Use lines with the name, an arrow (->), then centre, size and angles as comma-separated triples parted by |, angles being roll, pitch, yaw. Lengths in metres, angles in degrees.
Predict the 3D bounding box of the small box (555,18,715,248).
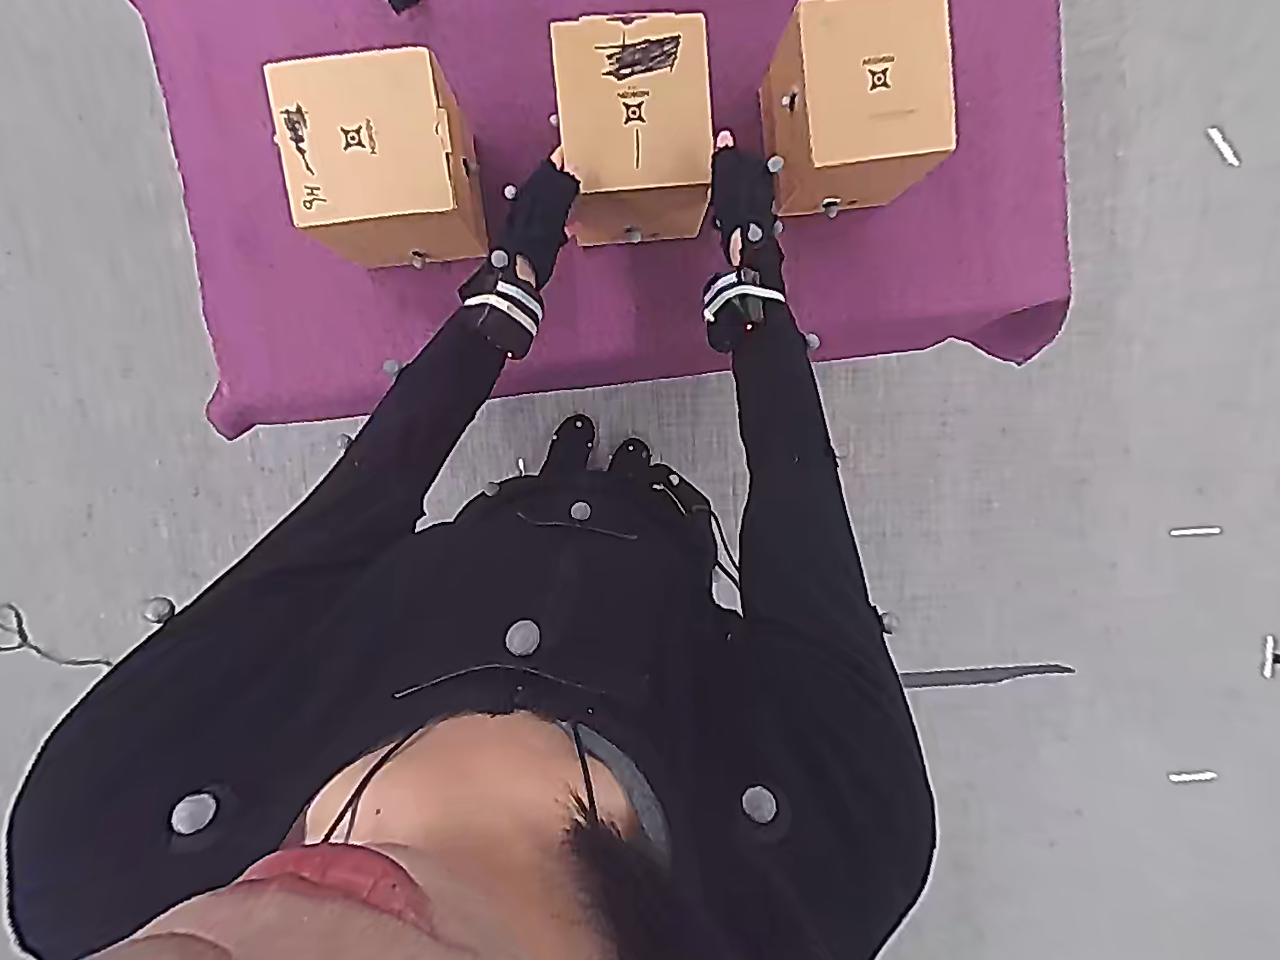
small box -> -0.008, -0.406, 0.658 | 0.168, 0.176, 0.179 | -4, 94, -1

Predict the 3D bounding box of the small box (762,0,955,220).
small box -> 0.259, -0.453, 0.676 | 0.168, 0.176, 0.179 | -8, 97, -1
